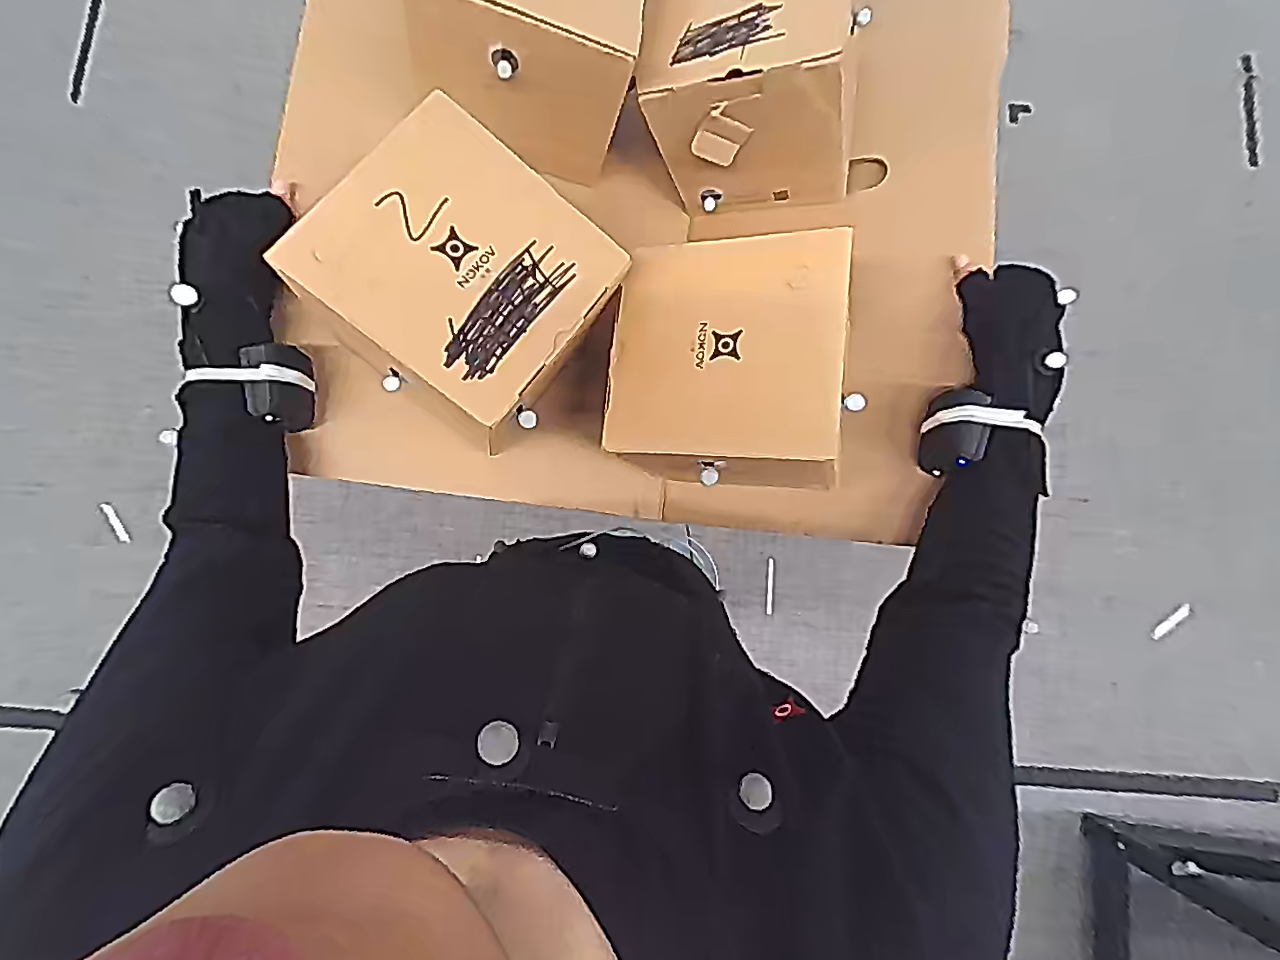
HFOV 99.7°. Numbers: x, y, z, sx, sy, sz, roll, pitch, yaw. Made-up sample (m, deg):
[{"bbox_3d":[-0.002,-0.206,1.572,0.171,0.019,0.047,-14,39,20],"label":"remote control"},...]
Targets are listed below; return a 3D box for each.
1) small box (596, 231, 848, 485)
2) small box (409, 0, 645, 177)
[{"bbox_3d":[0.083,-0.090,0.473,0.179,0.176,0.168,5,84,23],"label":"small box"},{"bbox_3d":[-0.095,-0.406,0.475,0.179,0.176,0.168,10,84,-15],"label":"small box"}]
